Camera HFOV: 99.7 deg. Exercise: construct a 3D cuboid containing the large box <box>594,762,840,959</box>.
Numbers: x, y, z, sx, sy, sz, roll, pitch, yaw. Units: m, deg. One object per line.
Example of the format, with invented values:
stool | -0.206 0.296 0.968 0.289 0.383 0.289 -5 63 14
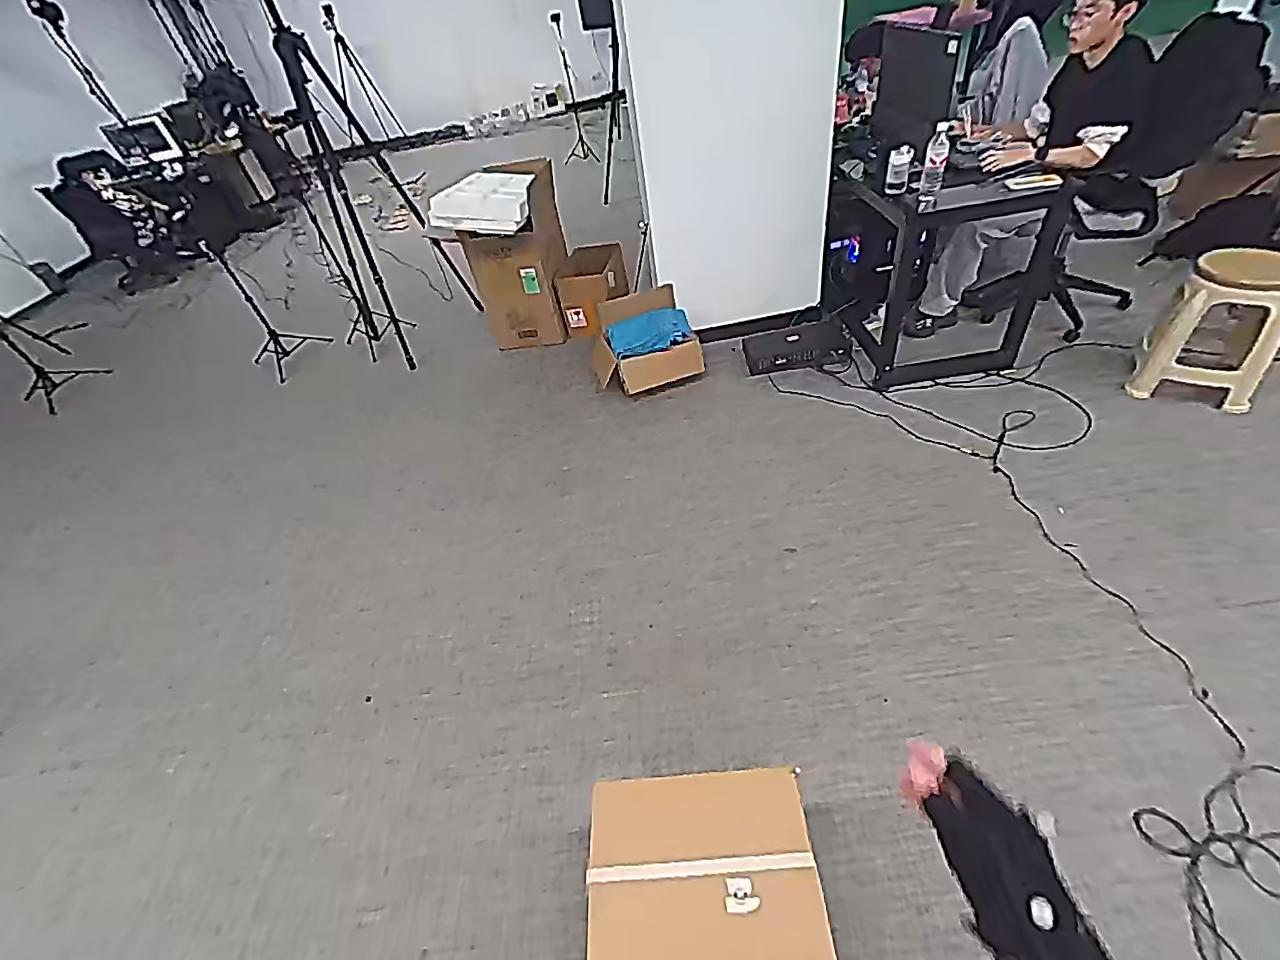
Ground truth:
large box | 0.135 0.796 1.070 0.408 0.320 0.320 -7 43 4
